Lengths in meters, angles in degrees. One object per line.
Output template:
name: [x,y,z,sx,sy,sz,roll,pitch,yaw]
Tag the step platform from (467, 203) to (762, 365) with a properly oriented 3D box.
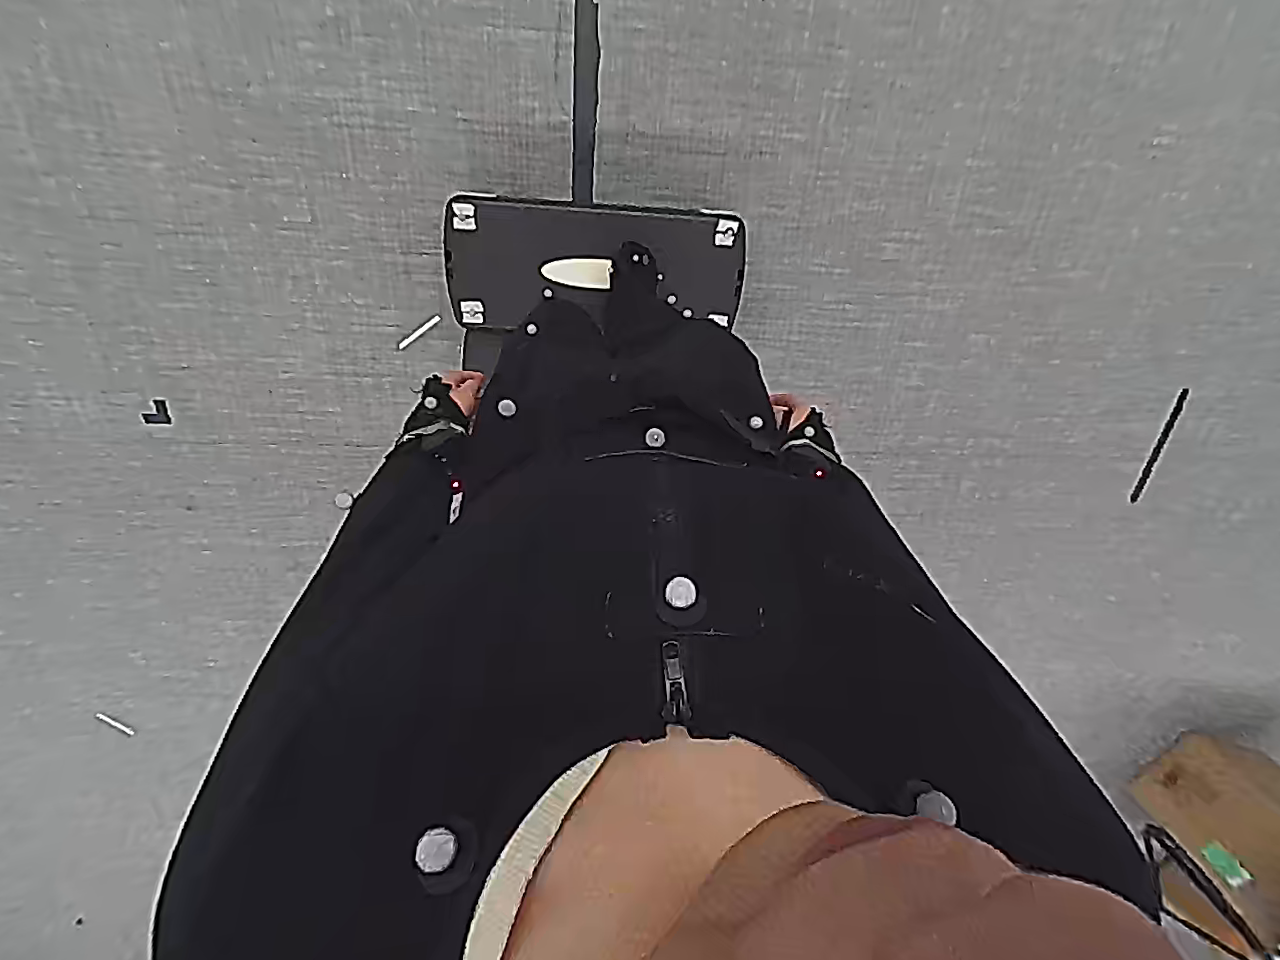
step platform: [-0.060,-0.464,1.302,0.684,0.204,0.286,5,114,-8]
